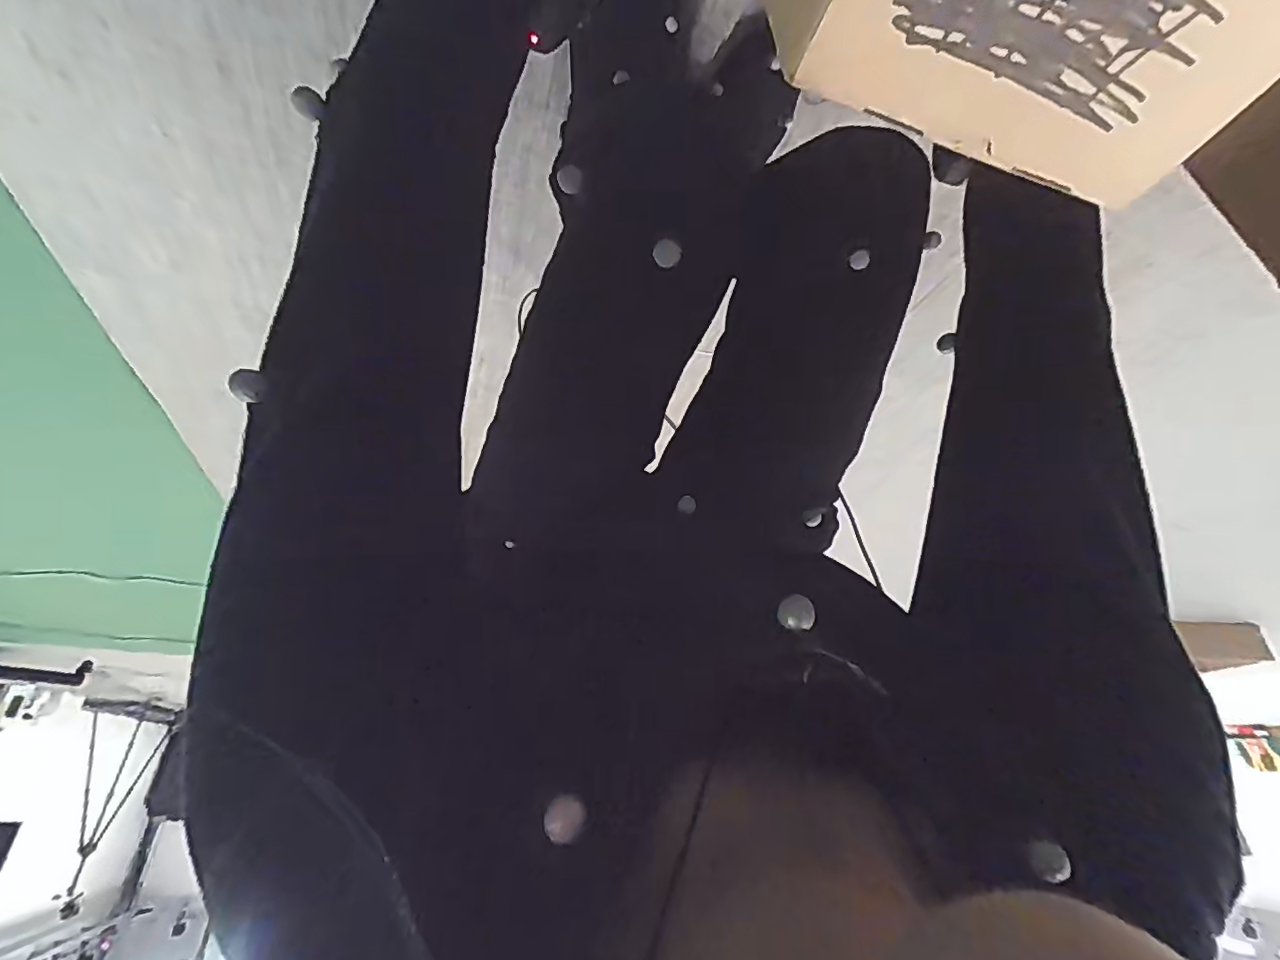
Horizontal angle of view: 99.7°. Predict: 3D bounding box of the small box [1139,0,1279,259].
[{"bbox_3d":[0.424,-0.209,0.275,0.179,0.176,0.168,9,150,-18],"label":"small box"}]
